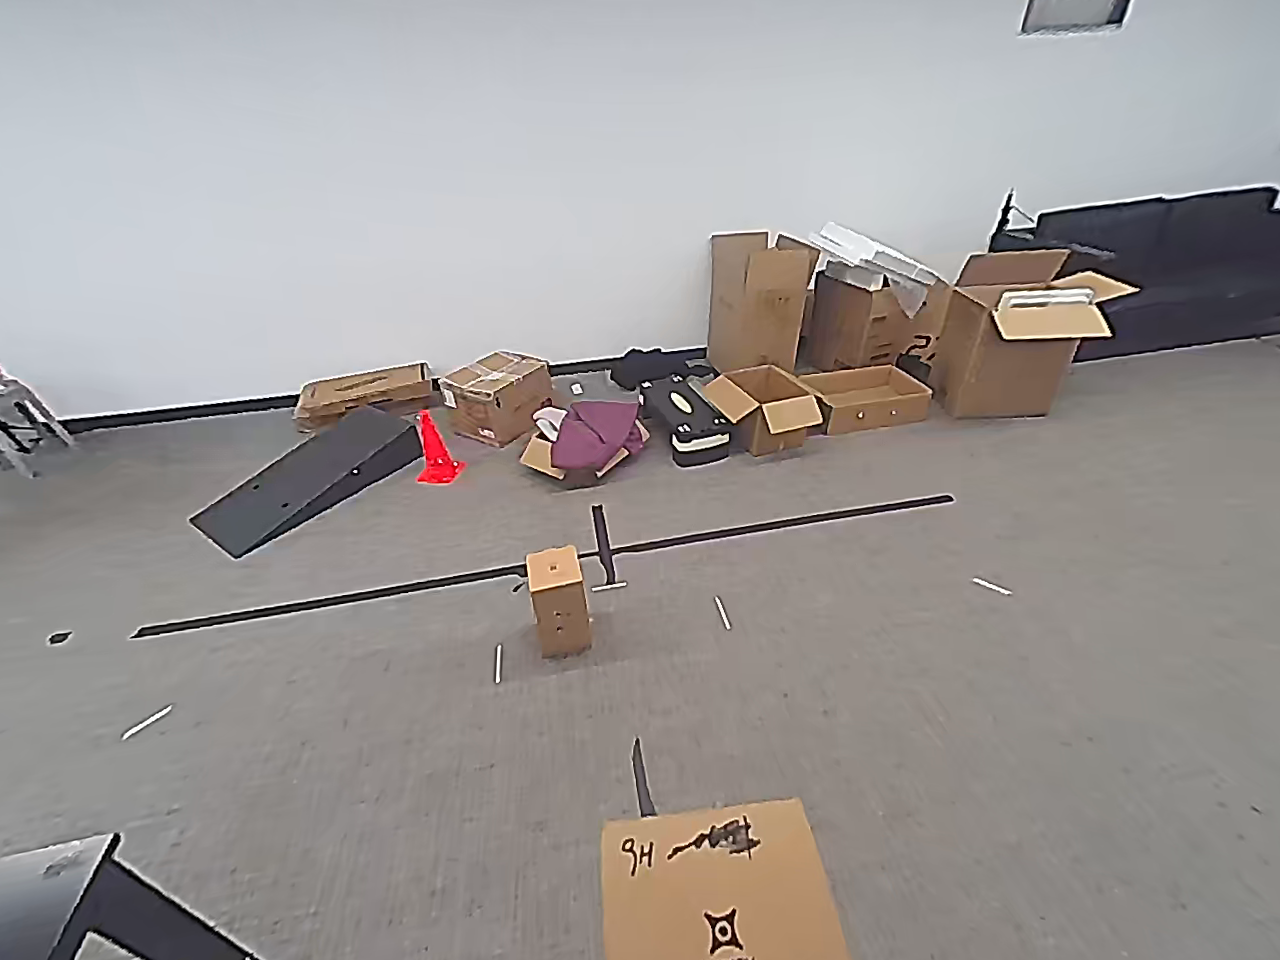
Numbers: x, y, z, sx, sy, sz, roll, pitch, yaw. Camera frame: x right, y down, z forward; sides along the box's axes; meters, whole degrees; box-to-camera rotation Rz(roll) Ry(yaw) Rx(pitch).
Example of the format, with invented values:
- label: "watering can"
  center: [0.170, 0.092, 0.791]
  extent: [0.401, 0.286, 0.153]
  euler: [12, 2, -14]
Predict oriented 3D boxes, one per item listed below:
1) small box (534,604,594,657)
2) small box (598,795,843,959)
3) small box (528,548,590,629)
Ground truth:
- label: "small box"
  center: [-0.263, 0.487, 1.865]
  extent: [0.179, 0.176, 0.168]
  euler: [-9, 35, -9]
- label: "small box"
  center: [0.060, 0.380, 0.421]
  extent: [0.168, 0.176, 0.179]
  euler: [-6, 38, -2]
- label: "small box"
  center: [-0.267, 0.354, 1.772]
  extent: [0.168, 0.176, 0.179]
  euler: [-12, 37, -10]
